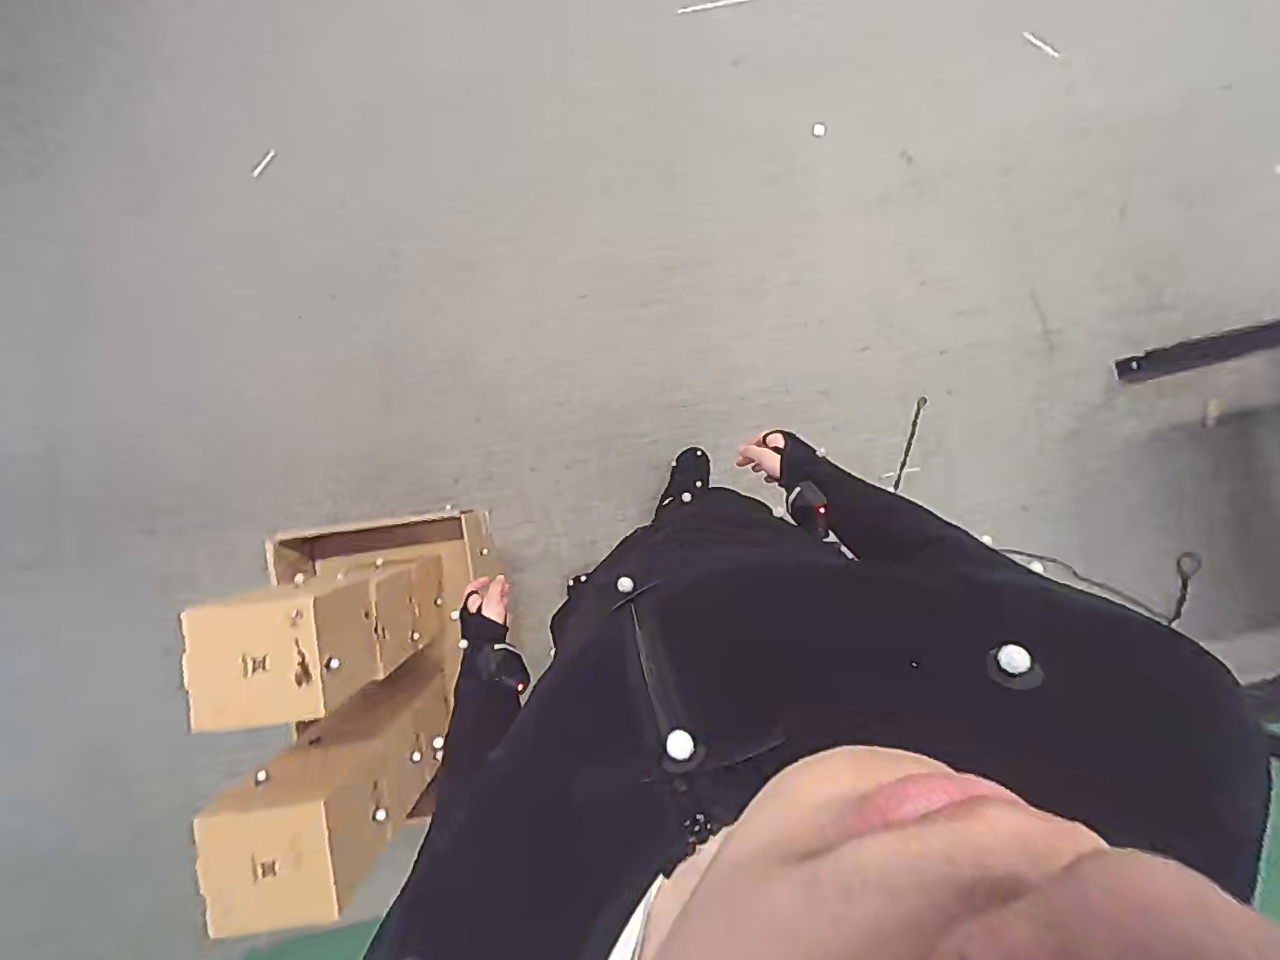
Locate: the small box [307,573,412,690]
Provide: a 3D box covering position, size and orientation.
[{"bbox_3d":[-0.518,0.264,0.955,0.179,0.176,0.168,-6,89,-1],"label":"small box"}]

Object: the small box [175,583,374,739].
[{"bbox_3d":[-0.520,0.253,0.791,0.179,0.176,0.168,-6,90,-2],"label":"small box"}]

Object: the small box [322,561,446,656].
[{"bbox_3d":[-0.522,0.266,1.120,0.179,0.176,0.168,-6,90,-2],"label":"small box"}]

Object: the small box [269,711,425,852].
[{"bbox_3d":[-0.504,0.529,0.951,0.179,0.176,0.168,-8,90,-2],"label":"small box"}]

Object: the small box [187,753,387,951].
[{"bbox_3d":[-0.500,0.526,0.788,0.179,0.176,0.168,-7,91,-1],"label":"small box"}]
